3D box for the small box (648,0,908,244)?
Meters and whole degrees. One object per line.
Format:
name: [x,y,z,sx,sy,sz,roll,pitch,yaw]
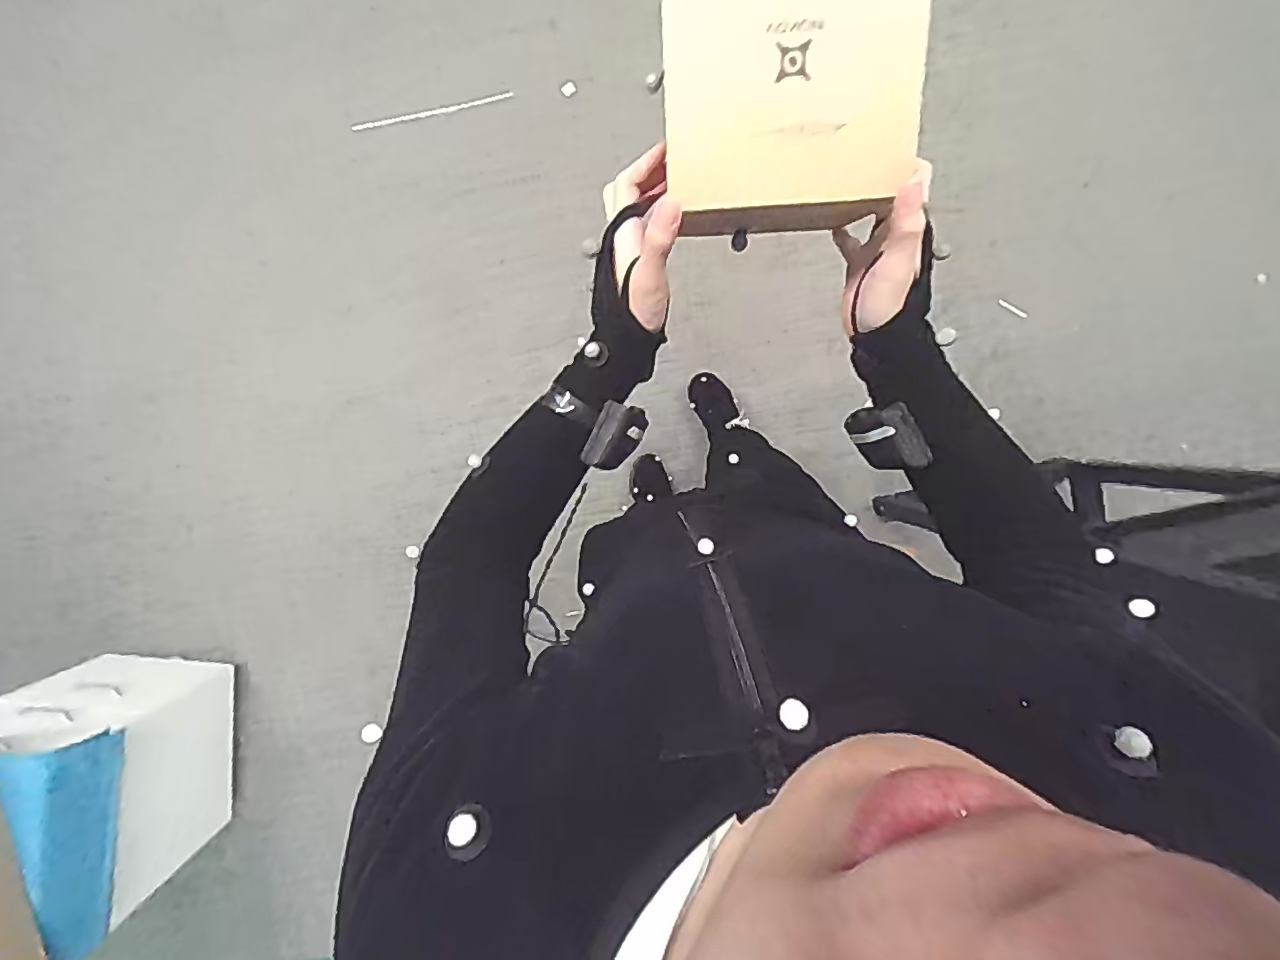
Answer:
small box: [0.091,-0.295,0.425,0.168,0.176,0.179,-2,107,4]
